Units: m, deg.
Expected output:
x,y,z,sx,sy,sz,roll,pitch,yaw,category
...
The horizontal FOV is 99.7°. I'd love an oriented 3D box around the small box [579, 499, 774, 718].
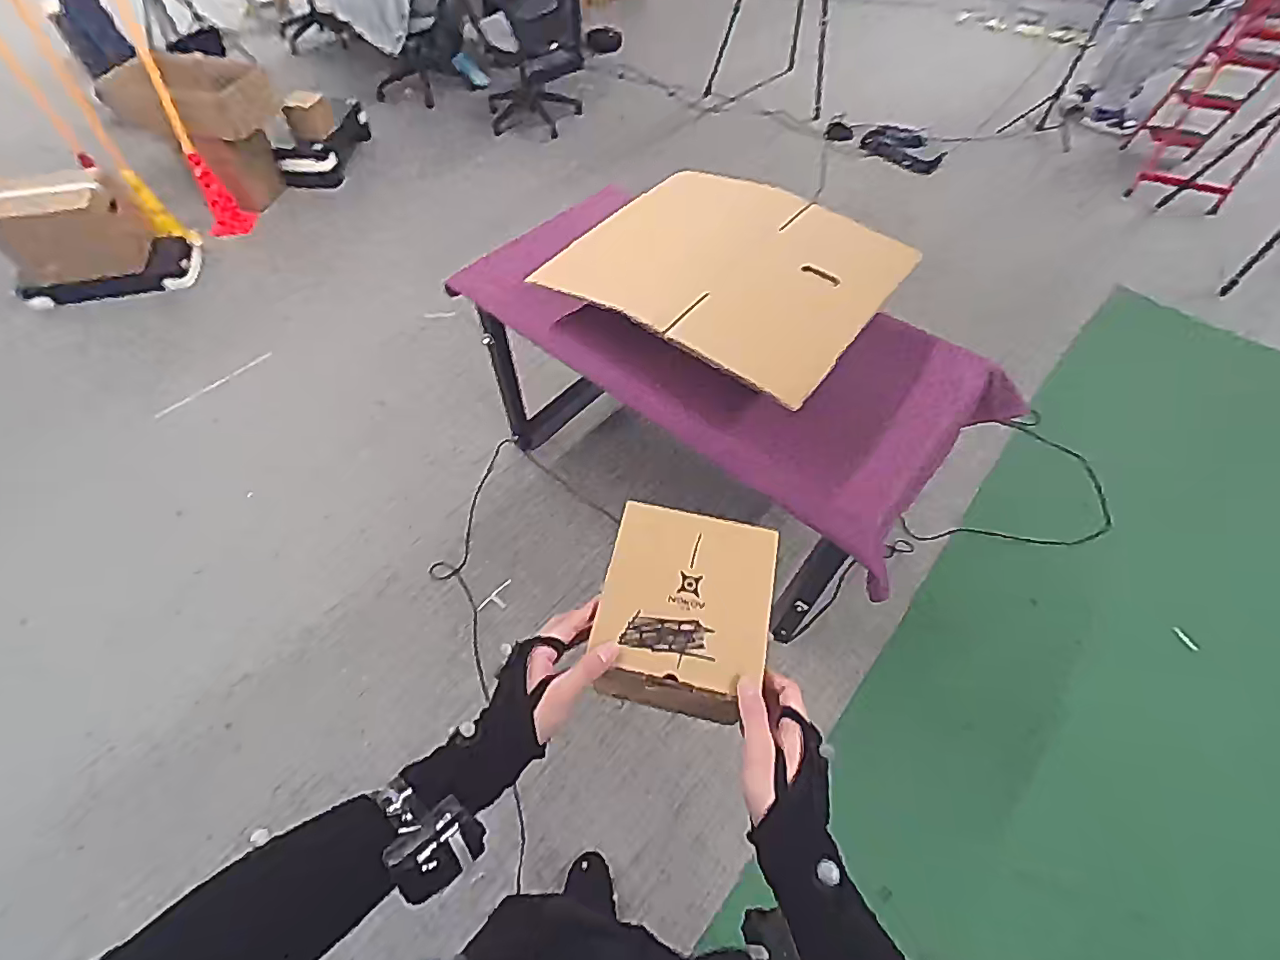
x,y,z,sx,sy,sz,roll,pitch,yaw,category
0.042,0.148,0.596,0.168,0.176,0.179,11,59,6,small box
